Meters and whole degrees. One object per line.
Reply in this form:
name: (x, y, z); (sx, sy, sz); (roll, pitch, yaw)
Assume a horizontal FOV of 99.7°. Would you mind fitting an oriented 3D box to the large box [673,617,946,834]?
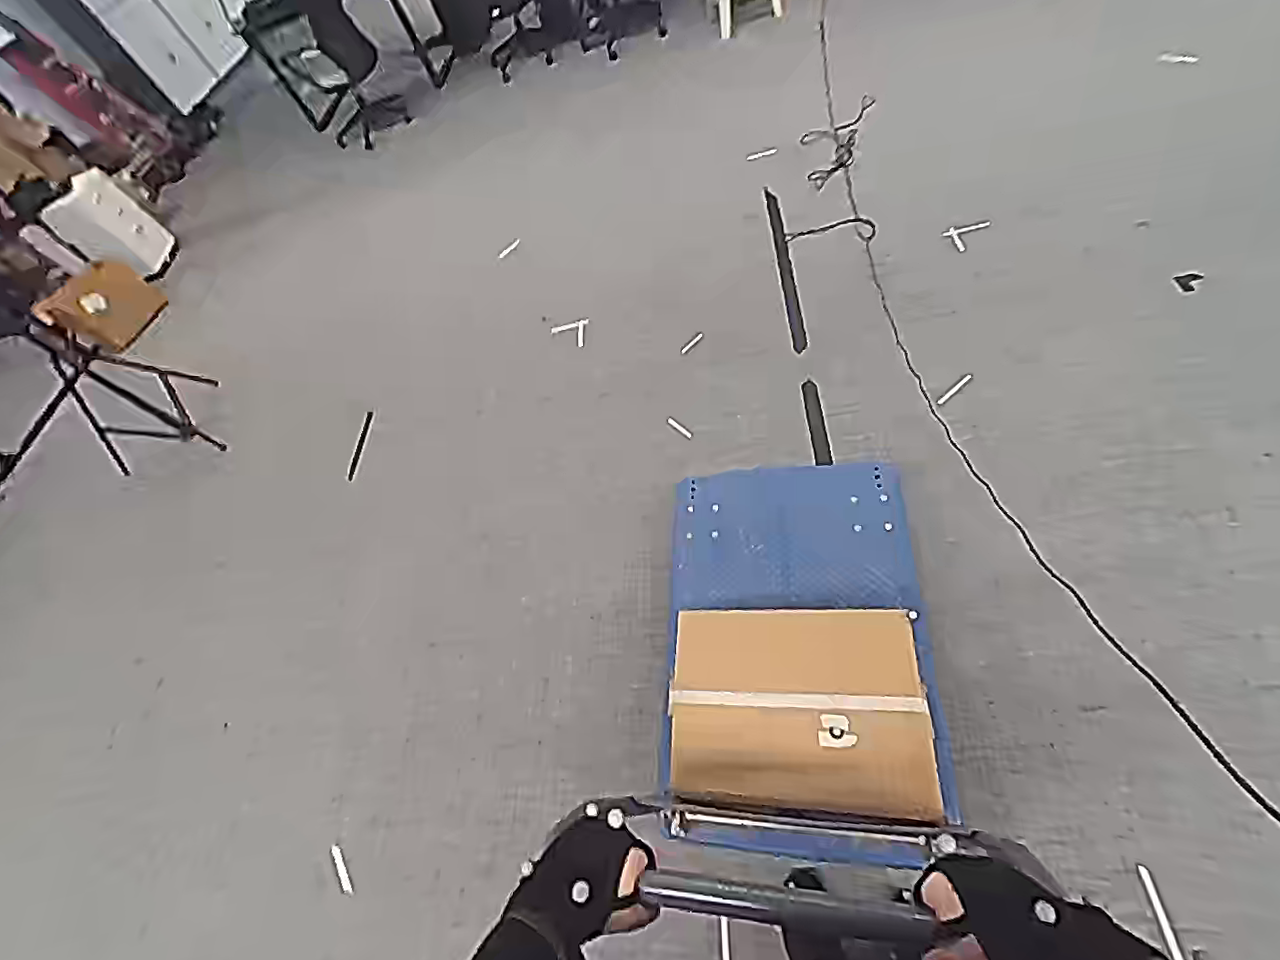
large box: (0.289, 0.458, 1.006); (0.408, 0.320, 0.320); (-5, 57, 16)
